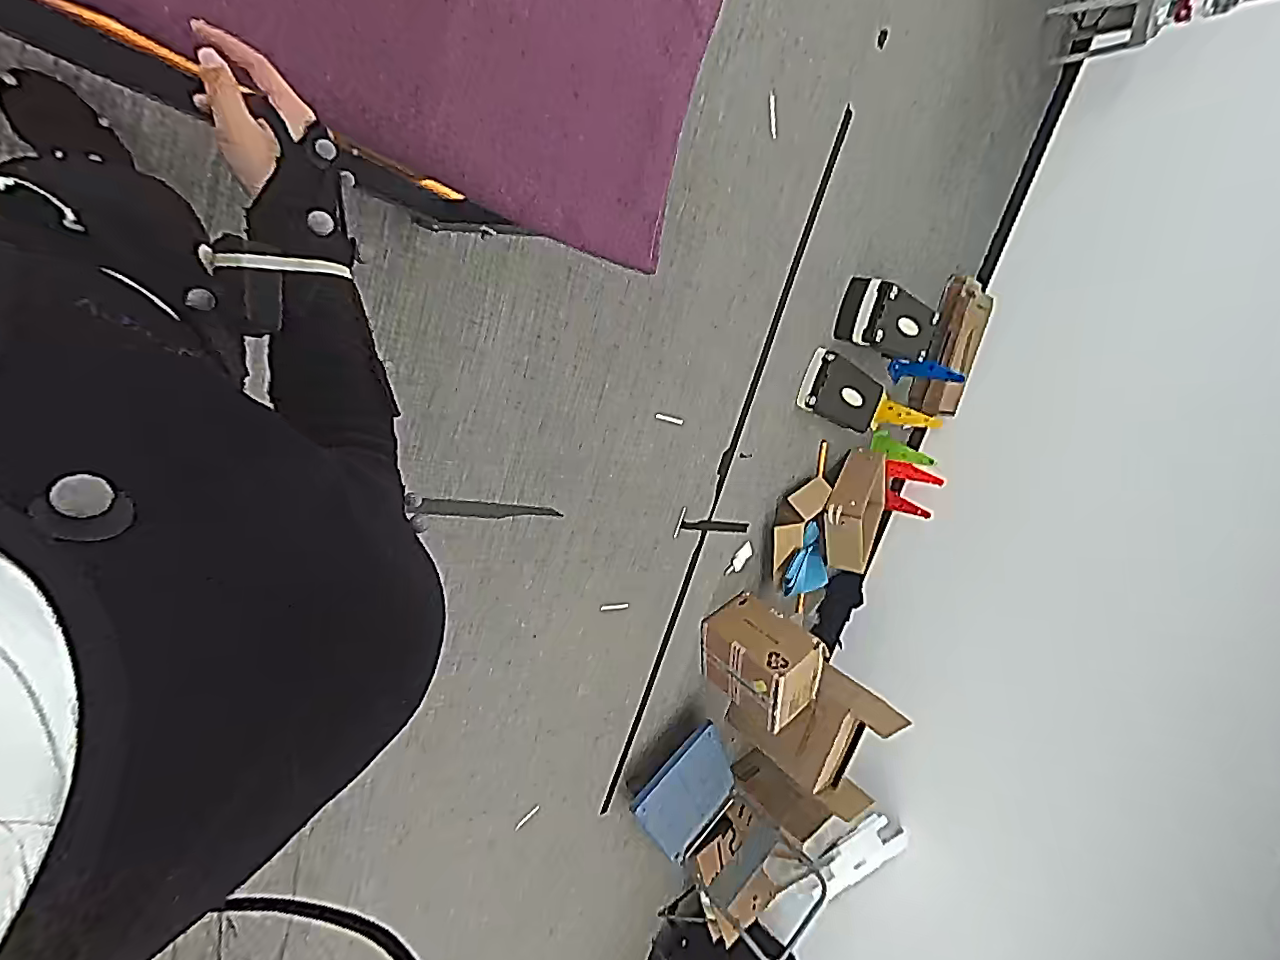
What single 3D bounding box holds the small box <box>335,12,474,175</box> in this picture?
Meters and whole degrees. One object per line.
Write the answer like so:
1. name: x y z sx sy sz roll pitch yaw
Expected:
1. small box: -0.430 -0.676 0.974 0.168 0.176 0.179 9 104 -46
